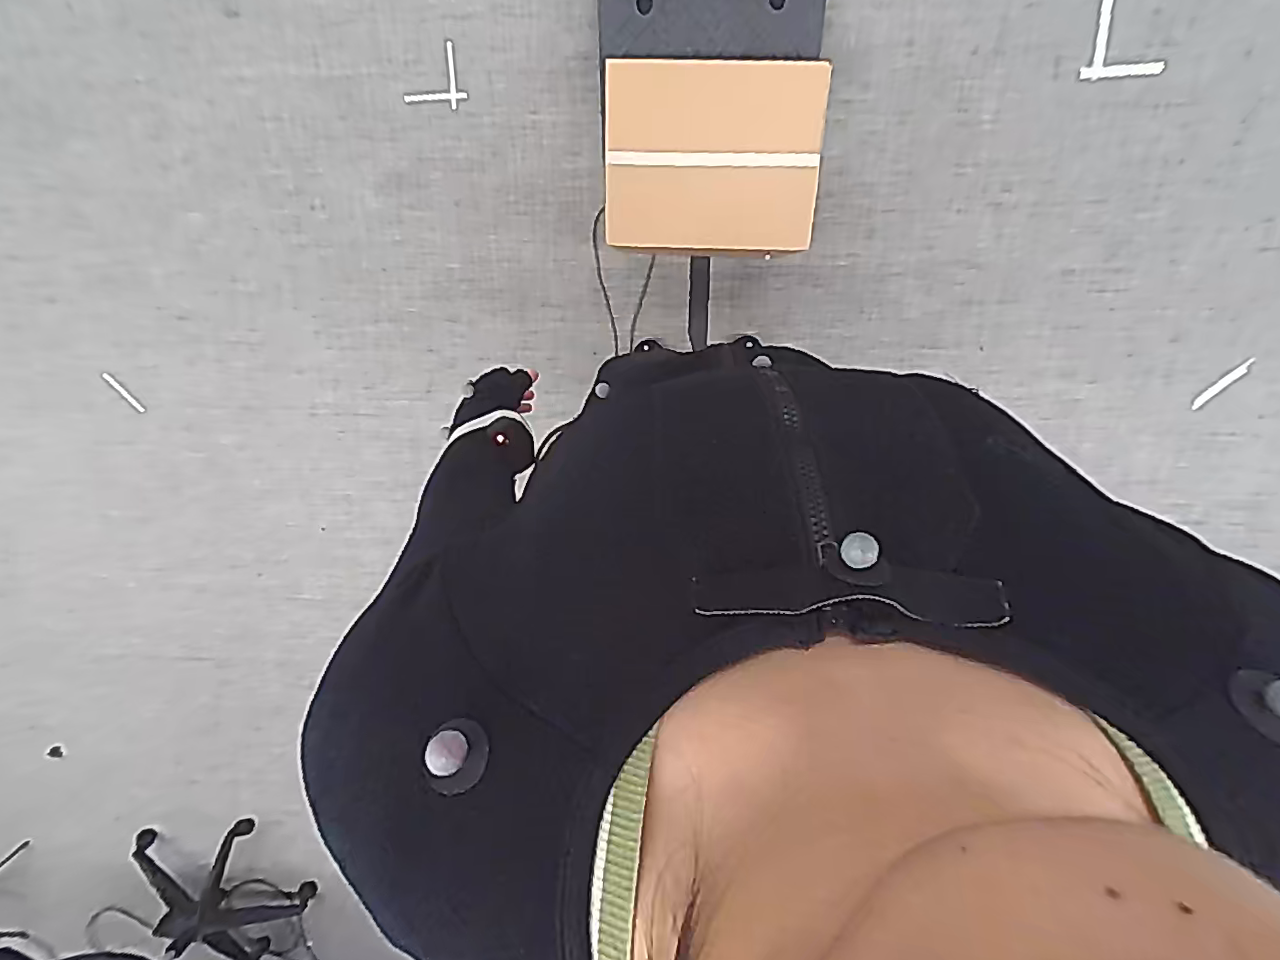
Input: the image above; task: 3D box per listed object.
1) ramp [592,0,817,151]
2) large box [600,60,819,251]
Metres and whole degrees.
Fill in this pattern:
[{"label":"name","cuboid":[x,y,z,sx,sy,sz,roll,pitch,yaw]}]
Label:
[{"label":"ramp","cuboid":[0.138,-1.232,1.076,0.509,0.206,0.991,-1,106,2]},{"label":"large box","cuboid":[0.130,-0.665,1.165,0.408,0.320,0.320,2,110,2]}]
